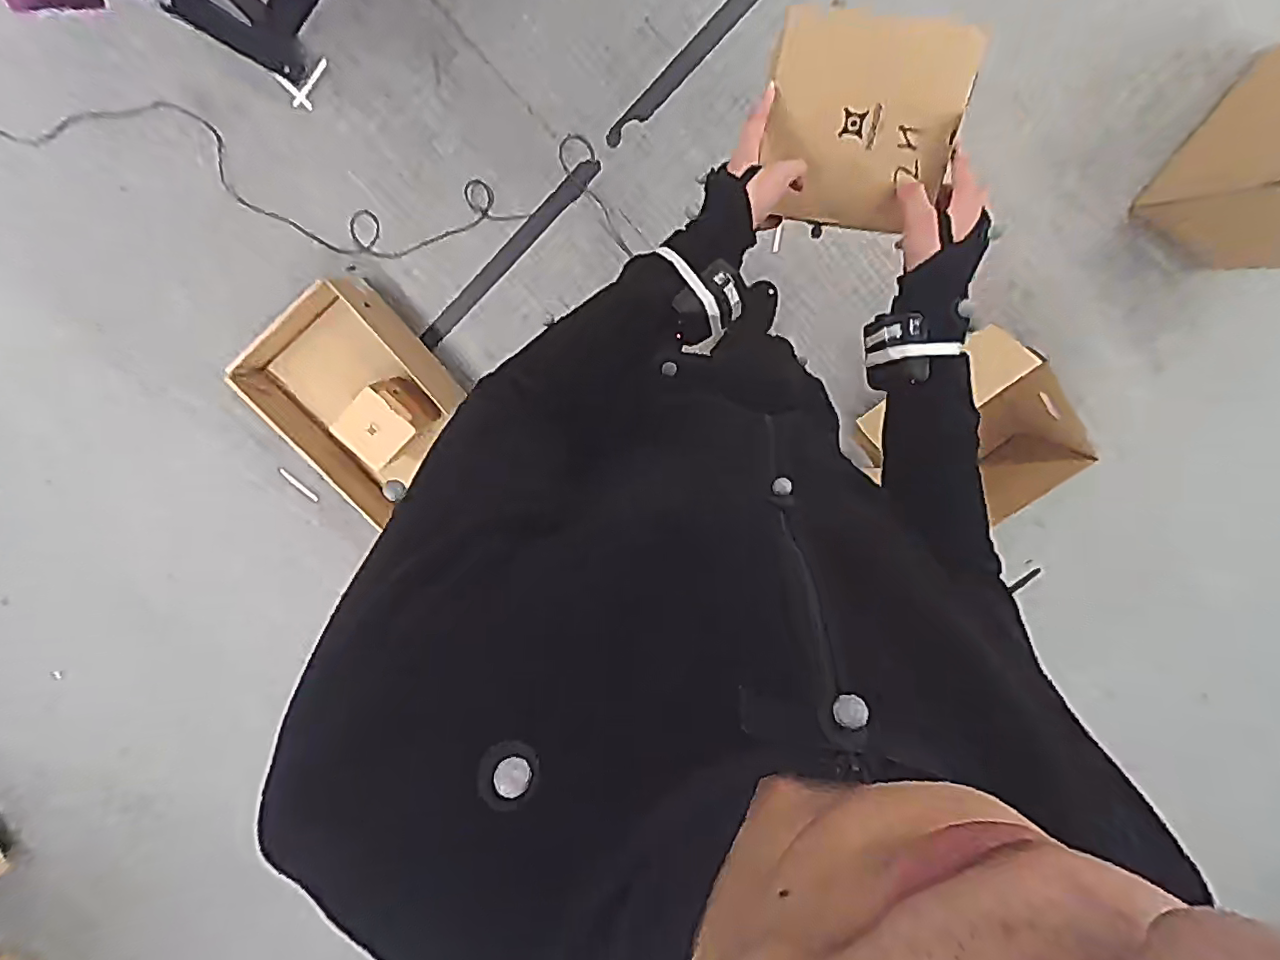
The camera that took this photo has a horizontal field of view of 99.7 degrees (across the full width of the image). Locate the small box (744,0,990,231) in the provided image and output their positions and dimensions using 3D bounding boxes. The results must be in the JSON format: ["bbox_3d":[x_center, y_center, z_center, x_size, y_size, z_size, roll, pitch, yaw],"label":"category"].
[{"bbox_3d":[0.211,-0.362,0.565,0.179,0.176,0.168,10,117,3],"label":"small box"}]

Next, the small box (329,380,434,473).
[{"bbox_3d":[-0.693,-0.154,1.481,0.179,0.176,0.168,-41,102,13],"label":"small box"}]
